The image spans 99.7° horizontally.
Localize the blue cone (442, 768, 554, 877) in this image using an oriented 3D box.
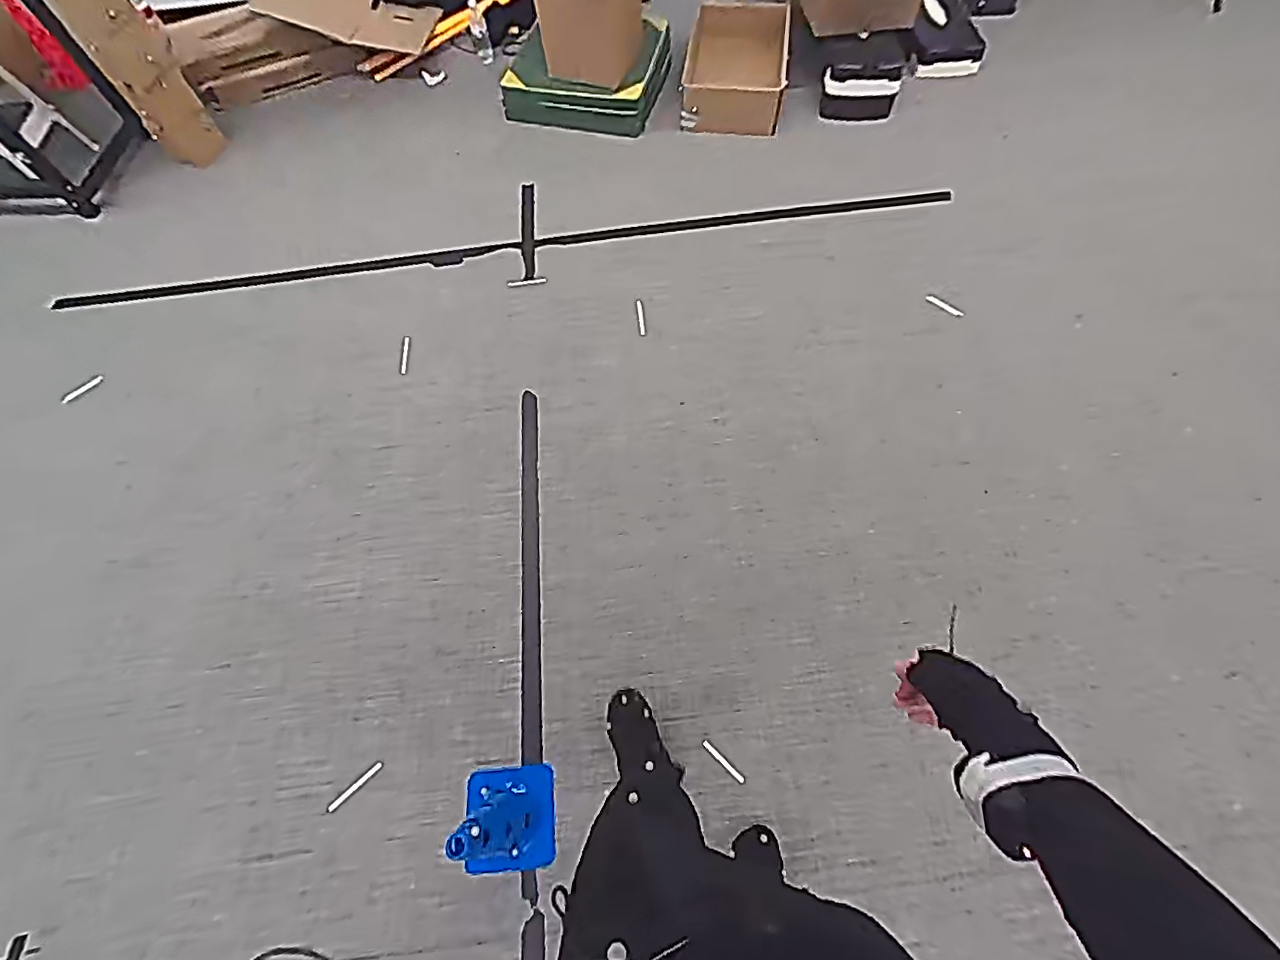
[{"bbox_3d":[-0.295,0.684,1.044,0.193,0.380,0.192,-8,65,0],"label":"blue cone"}]
